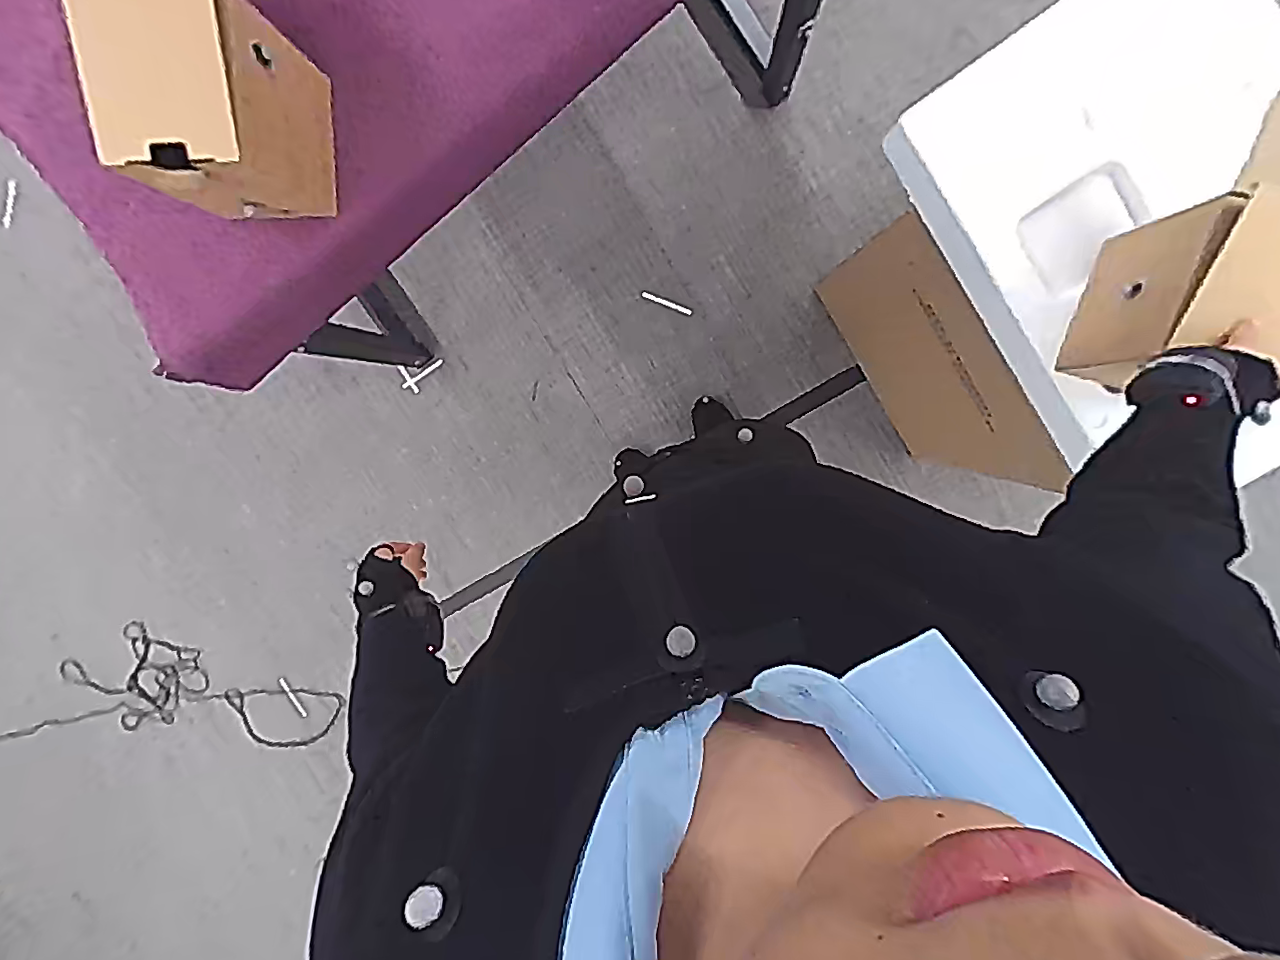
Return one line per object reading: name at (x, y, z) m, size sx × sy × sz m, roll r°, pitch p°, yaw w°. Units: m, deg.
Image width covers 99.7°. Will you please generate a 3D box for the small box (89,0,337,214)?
small box at (-0.495, -0.443, 0.653) m, size 0.168 × 0.176 × 0.179 m, roll 1°, pitch 97°, yaw 5°
